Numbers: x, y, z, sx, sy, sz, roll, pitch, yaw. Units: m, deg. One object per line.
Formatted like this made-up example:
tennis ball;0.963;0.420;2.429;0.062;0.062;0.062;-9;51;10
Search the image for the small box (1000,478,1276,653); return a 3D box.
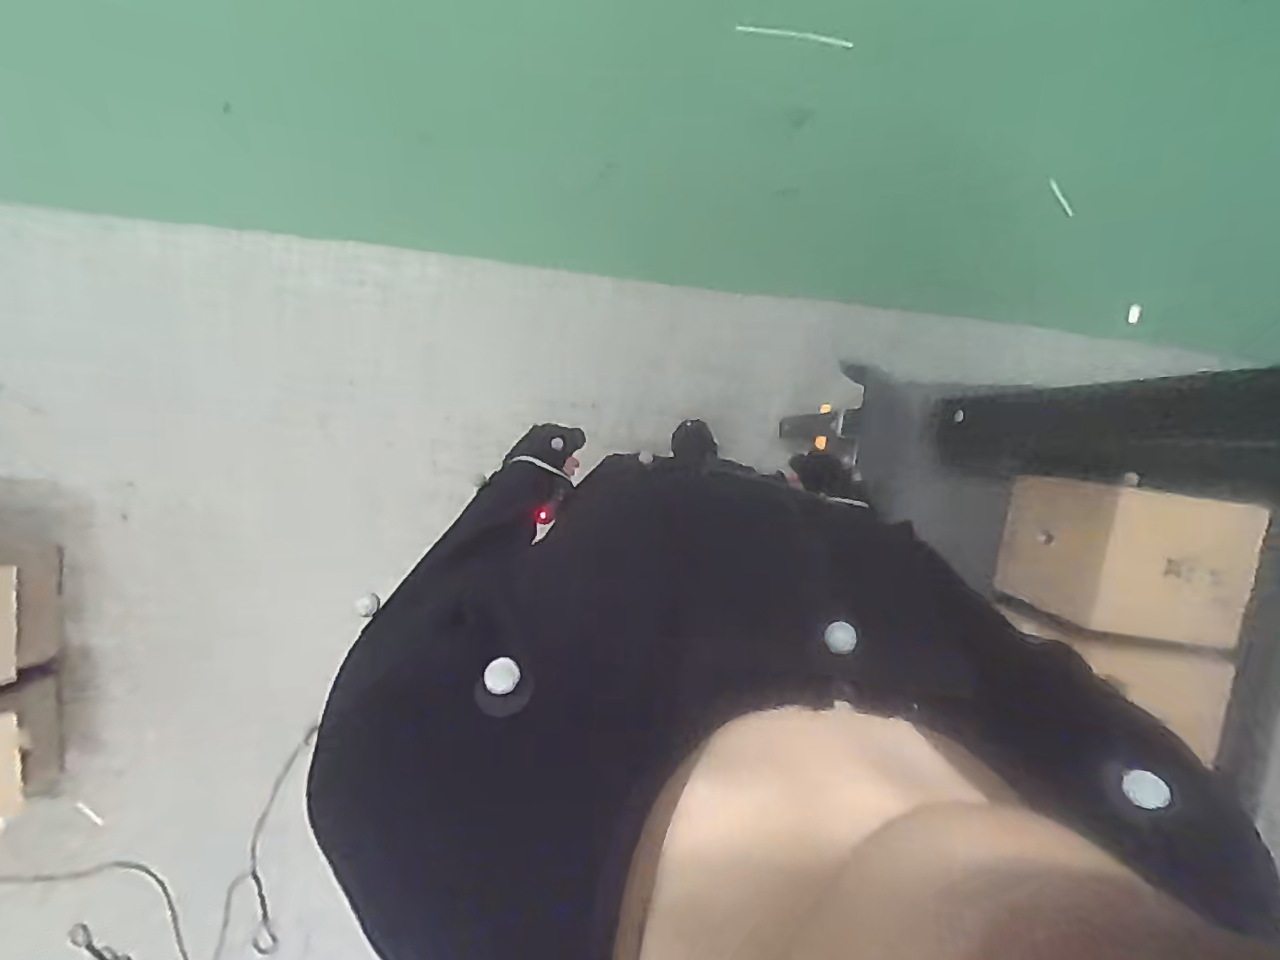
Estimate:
small box;0.597;0.094;0.675;0.179;0.176;0.168;8;96;-2
